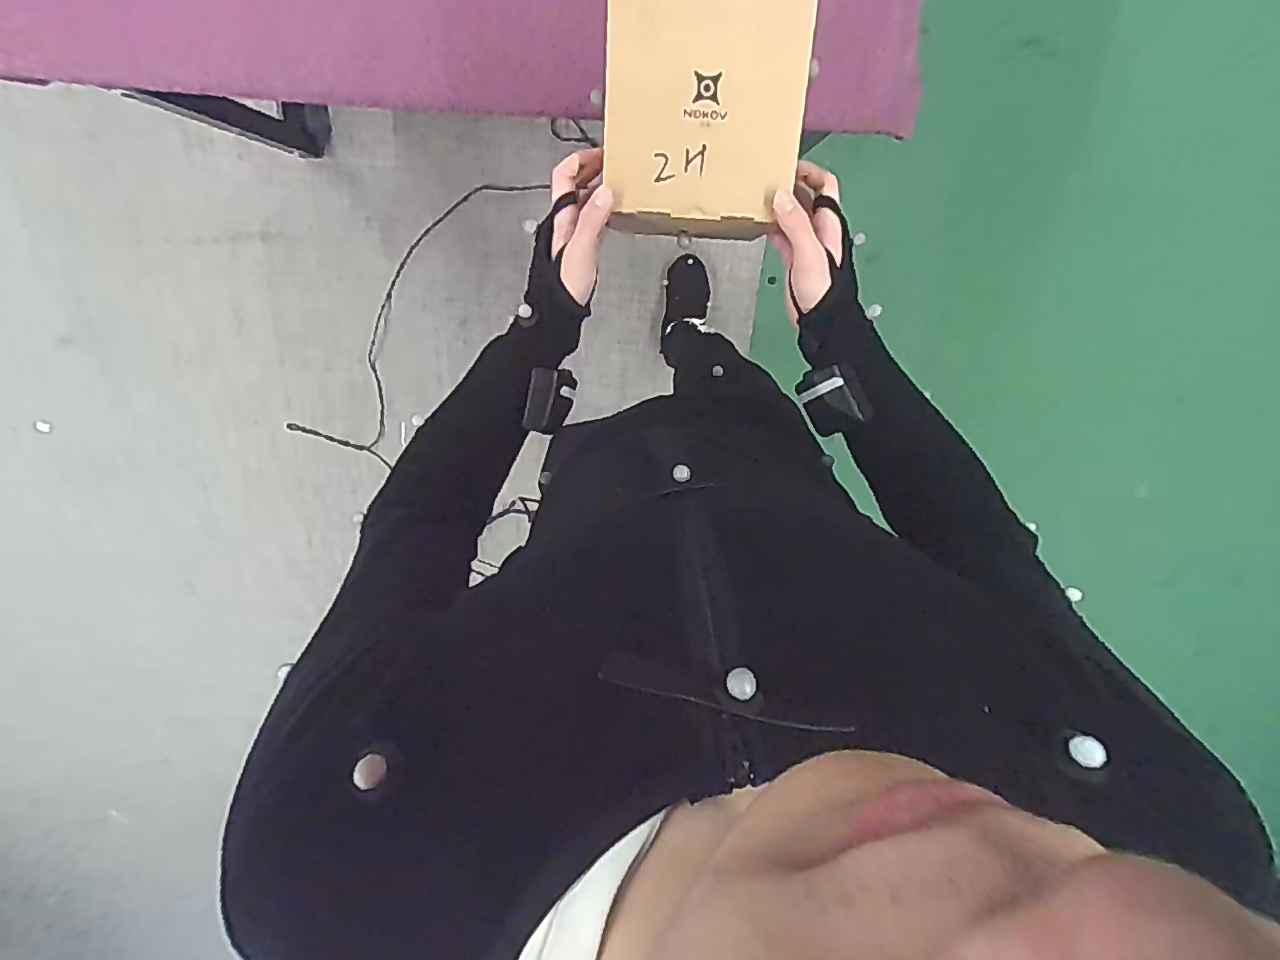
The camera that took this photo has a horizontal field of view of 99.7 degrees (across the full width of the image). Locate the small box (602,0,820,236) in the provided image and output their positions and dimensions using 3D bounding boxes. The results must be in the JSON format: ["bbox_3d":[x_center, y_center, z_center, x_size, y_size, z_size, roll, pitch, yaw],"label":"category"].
[{"bbox_3d":[0.054,-0.341,0.512,0.168,0.176,0.179,4,108,-1],"label":"small box"}]
